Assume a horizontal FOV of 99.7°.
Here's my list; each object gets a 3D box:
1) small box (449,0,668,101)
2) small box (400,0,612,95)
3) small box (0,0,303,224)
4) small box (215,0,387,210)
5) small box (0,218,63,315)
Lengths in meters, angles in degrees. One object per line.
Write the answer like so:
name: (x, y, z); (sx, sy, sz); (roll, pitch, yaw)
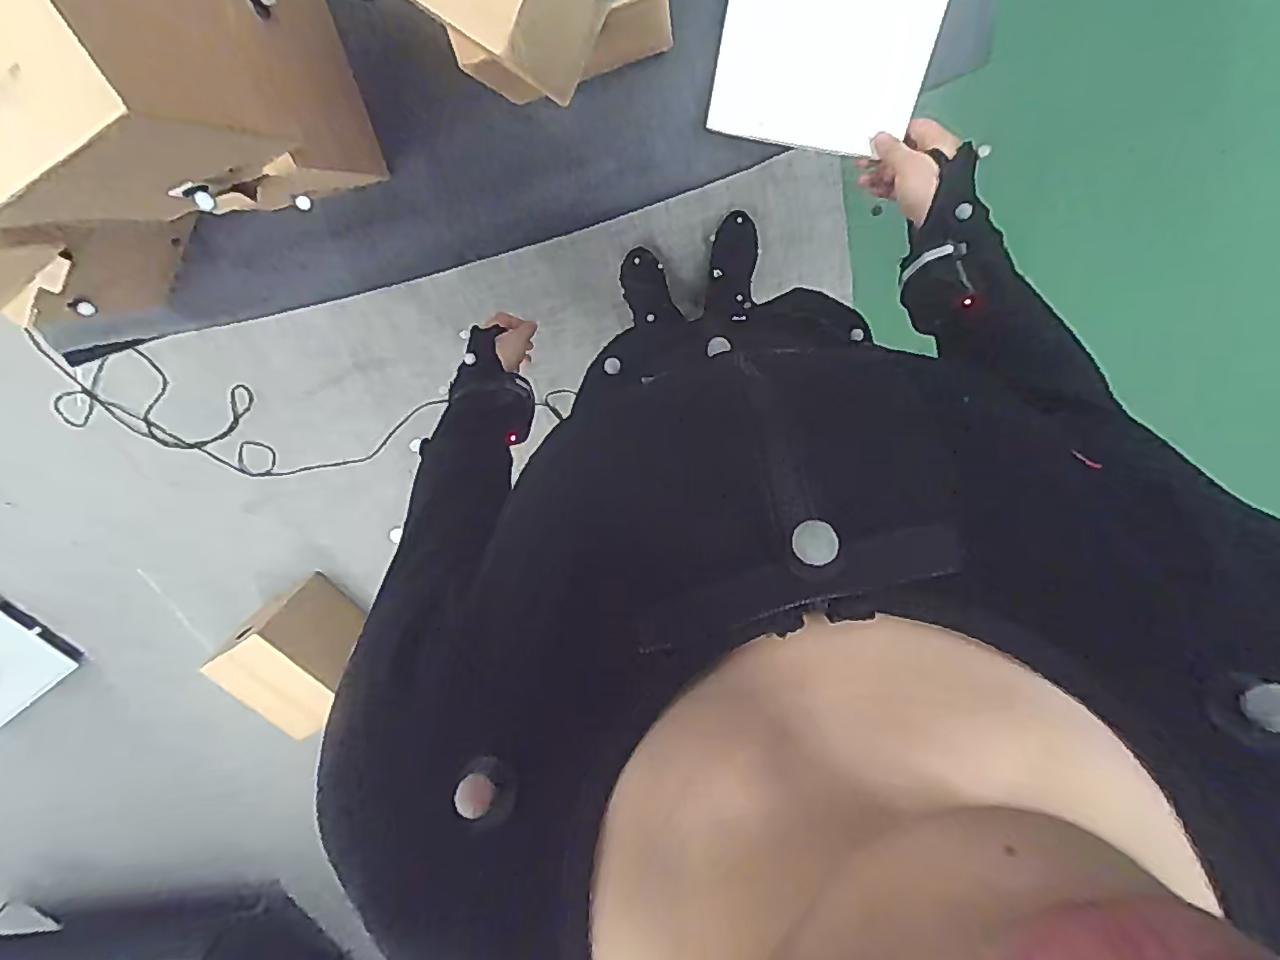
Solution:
small box: (-0.077, -0.454, 0.460); (0.179, 0.176, 0.168); (-12, 115, 13)
small box: (-0.102, -0.369, 0.321); (0.179, 0.176, 0.168); (30, 117, -9)
small box: (-0.402, -0.303, 0.388); (0.168, 0.176, 0.179); (-19, 114, 16)
small box: (-0.390, -0.377, 0.532); (0.168, 0.176, 0.179); (-8, 115, 11)
small box: (-0.672, -0.224, 0.456); (0.179, 0.176, 0.168); (-25, 112, 18)
